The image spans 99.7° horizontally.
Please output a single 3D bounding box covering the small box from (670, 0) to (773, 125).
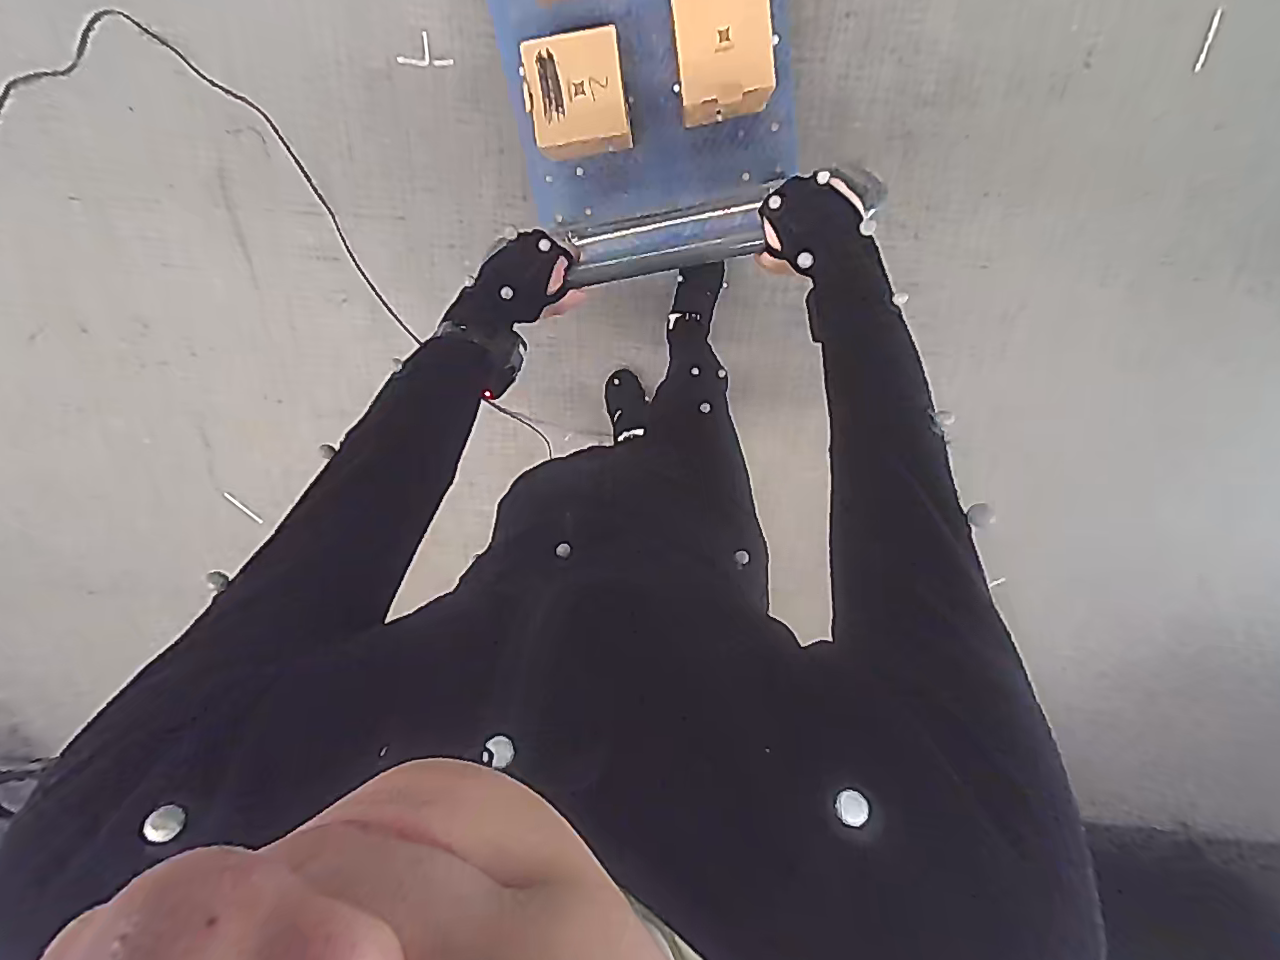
[{"bbox_3d":[0.148,-0.802,1.019,0.168,0.176,0.179,-9,113,7],"label":"small box"}]
